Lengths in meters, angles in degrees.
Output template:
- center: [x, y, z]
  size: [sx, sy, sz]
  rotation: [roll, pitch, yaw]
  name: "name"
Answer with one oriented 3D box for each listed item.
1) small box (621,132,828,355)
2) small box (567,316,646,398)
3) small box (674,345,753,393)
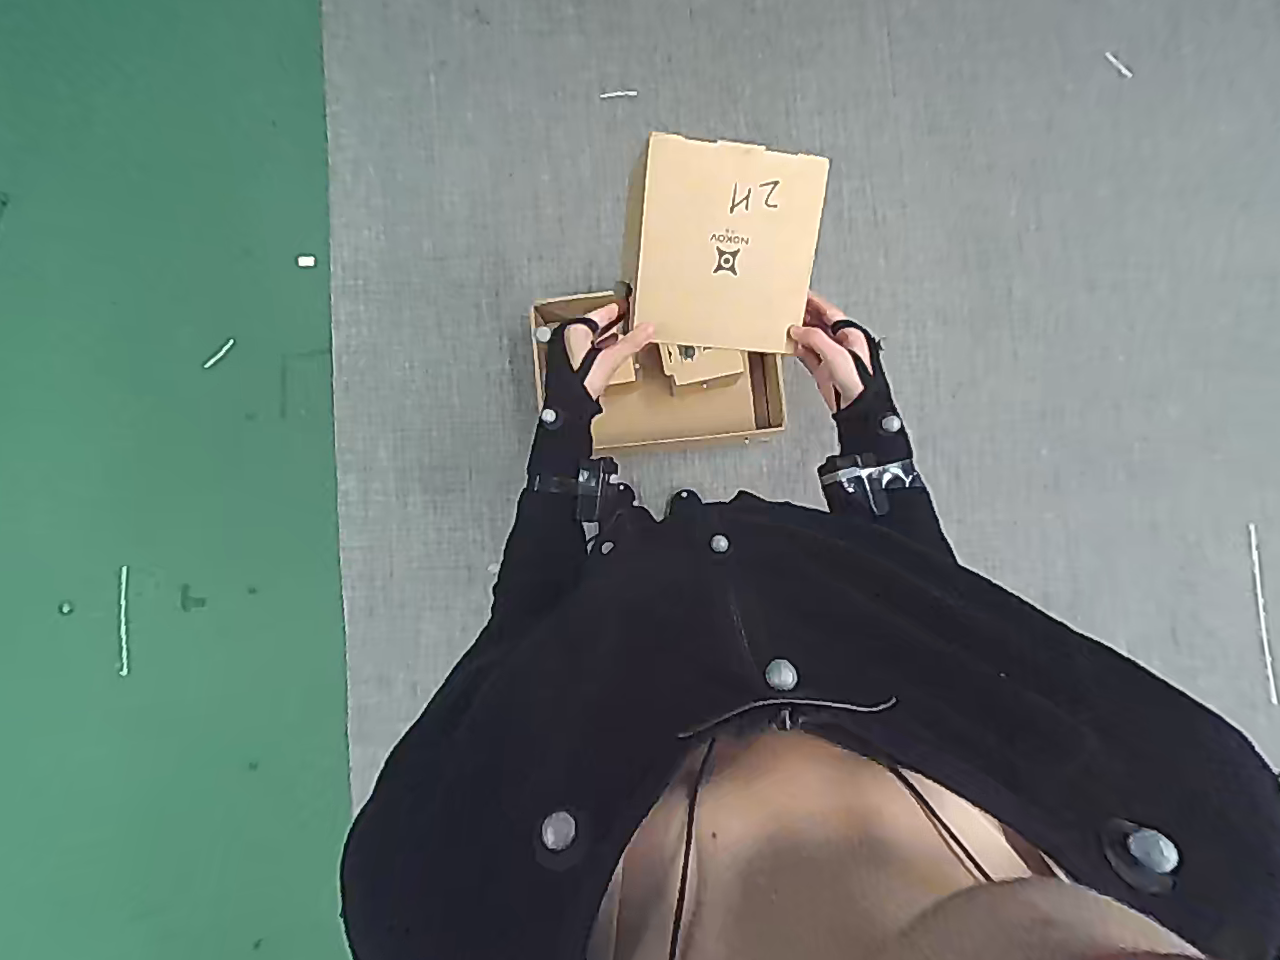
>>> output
- center: [0.072, -0.234, 0.573]
  size: [0.168, 0.176, 0.179]
  rotation: [3, 107, -8]
  name: "small box"
- center: [-0.082, -0.316, 1.416]
  size: [0.179, 0.176, 0.168]
  rotation: [-8, 89, 2]
  name: "small box"
- center: [0.182, -0.331, 1.401]
  size: [0.179, 0.176, 0.168]
  rotation: [-12, 88, 3]
  name: "small box"
